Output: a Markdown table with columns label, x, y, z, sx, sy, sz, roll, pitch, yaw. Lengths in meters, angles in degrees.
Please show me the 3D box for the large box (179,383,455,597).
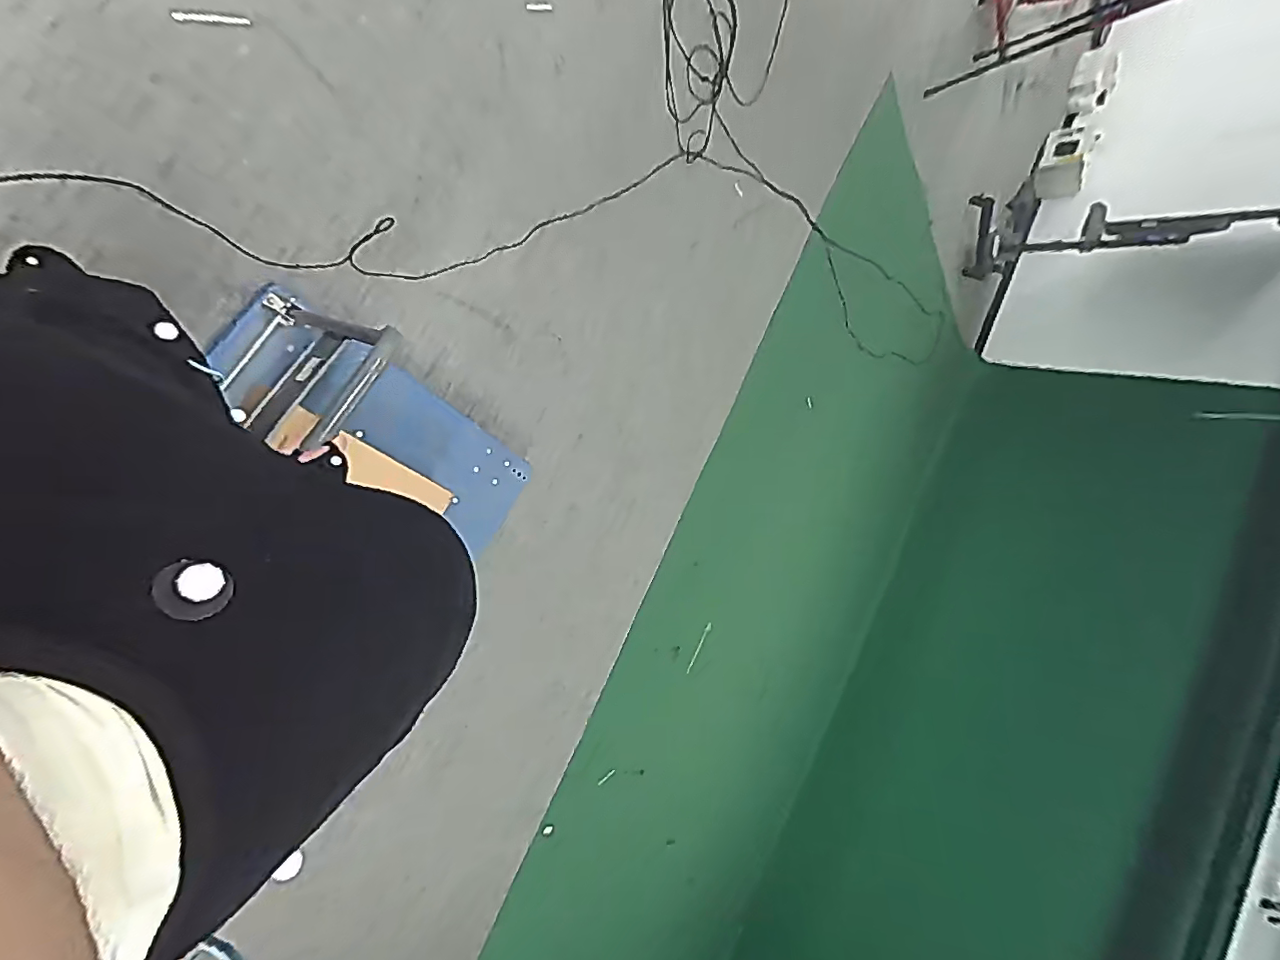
| label | x | y | z | sx | sy | sz | roll | pitch | yaw |
| --- | --- | --- | --- | --- | --- | --- | --- | --- | --- |
| large box | -0.730 | 0.023 | 1.246 | 0.408 | 0.320 | 0.320 | 40 | 76 | -46 |
